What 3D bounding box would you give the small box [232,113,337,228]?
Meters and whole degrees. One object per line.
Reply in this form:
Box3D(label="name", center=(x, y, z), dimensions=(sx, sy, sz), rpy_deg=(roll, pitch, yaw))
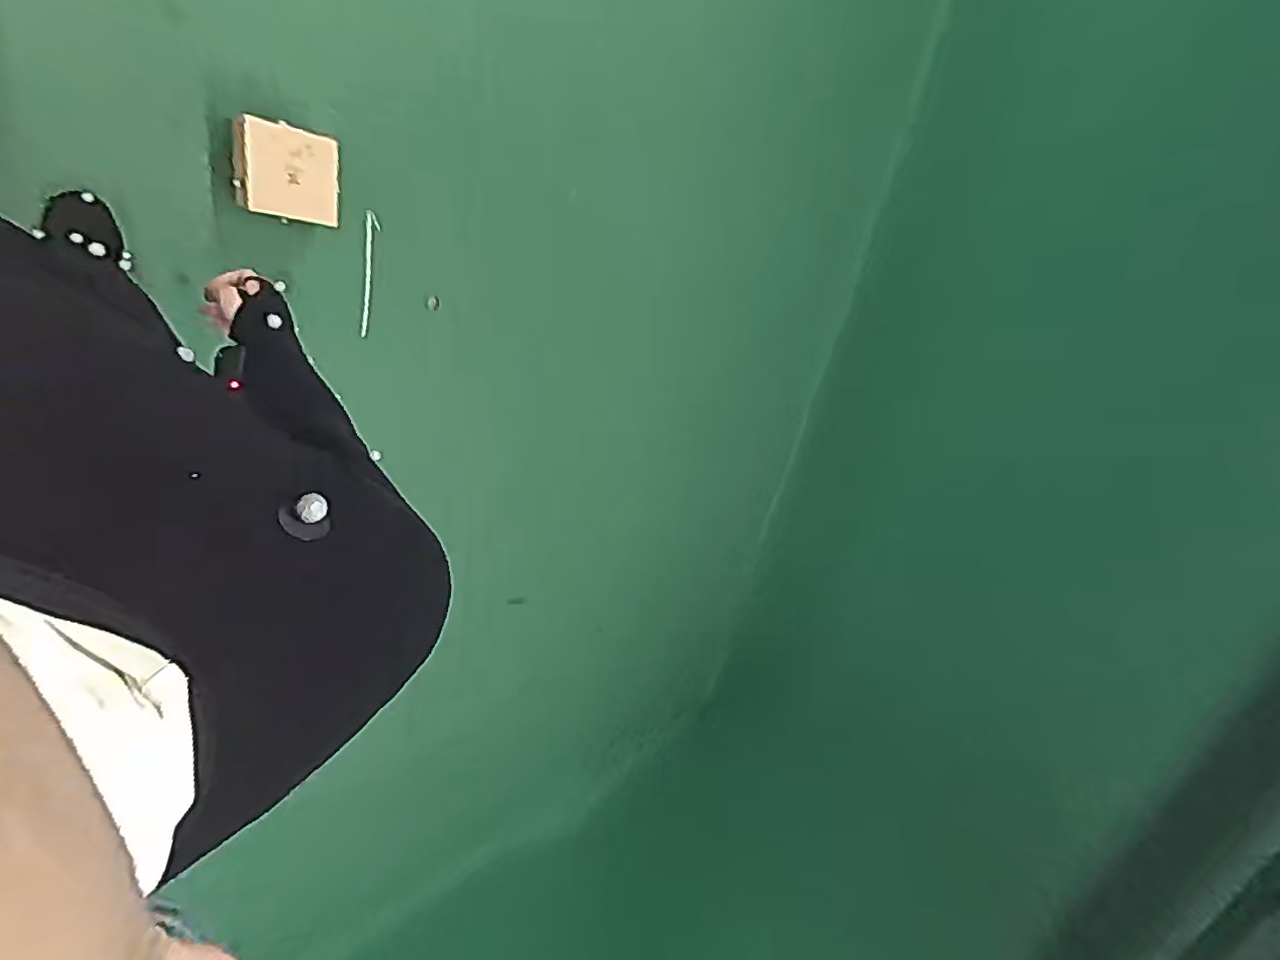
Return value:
Box3D(label="small box", center=(-0.779, -0.671, 1.182), dimensions=(0.168, 0.176, 0.179), rpy_deg=(-6, 118, -42))
